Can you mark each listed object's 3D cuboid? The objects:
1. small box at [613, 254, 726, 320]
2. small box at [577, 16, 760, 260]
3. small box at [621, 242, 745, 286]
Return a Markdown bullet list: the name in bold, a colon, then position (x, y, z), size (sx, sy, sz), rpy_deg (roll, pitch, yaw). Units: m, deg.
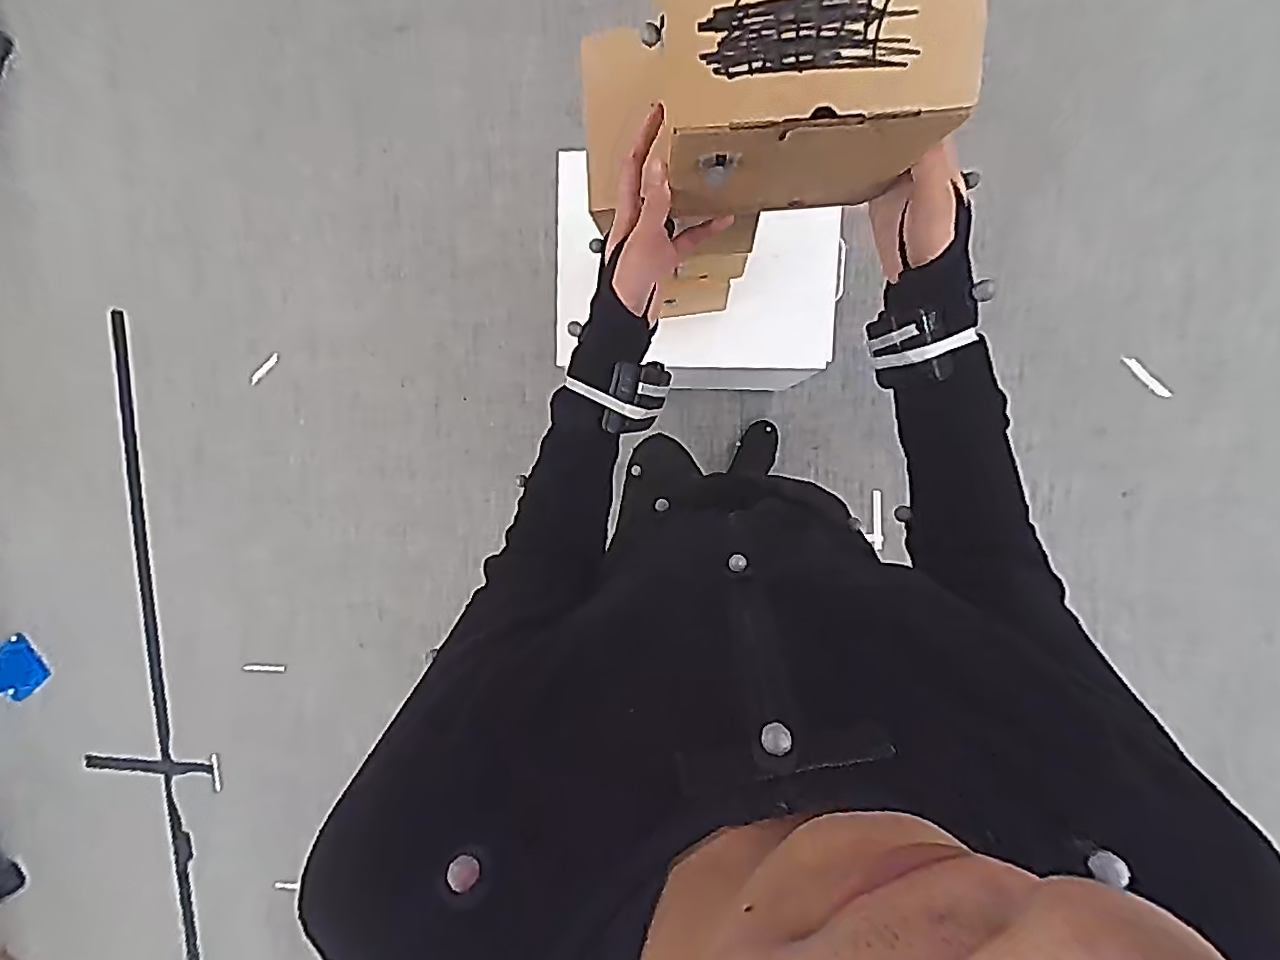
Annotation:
- **small box**: position (0.051, -0.380, 0.927), size (0.179, 0.176, 0.168), rpy_deg (-6, 95, 6)
- **small box**: position (0.037, -0.357, 0.600), size (0.179, 0.176, 0.168), rpy_deg (-2, 95, 7)
- **small box**: position (0.058, -0.384, 0.762), size (0.168, 0.176, 0.179), rpy_deg (-5, 94, 7)
